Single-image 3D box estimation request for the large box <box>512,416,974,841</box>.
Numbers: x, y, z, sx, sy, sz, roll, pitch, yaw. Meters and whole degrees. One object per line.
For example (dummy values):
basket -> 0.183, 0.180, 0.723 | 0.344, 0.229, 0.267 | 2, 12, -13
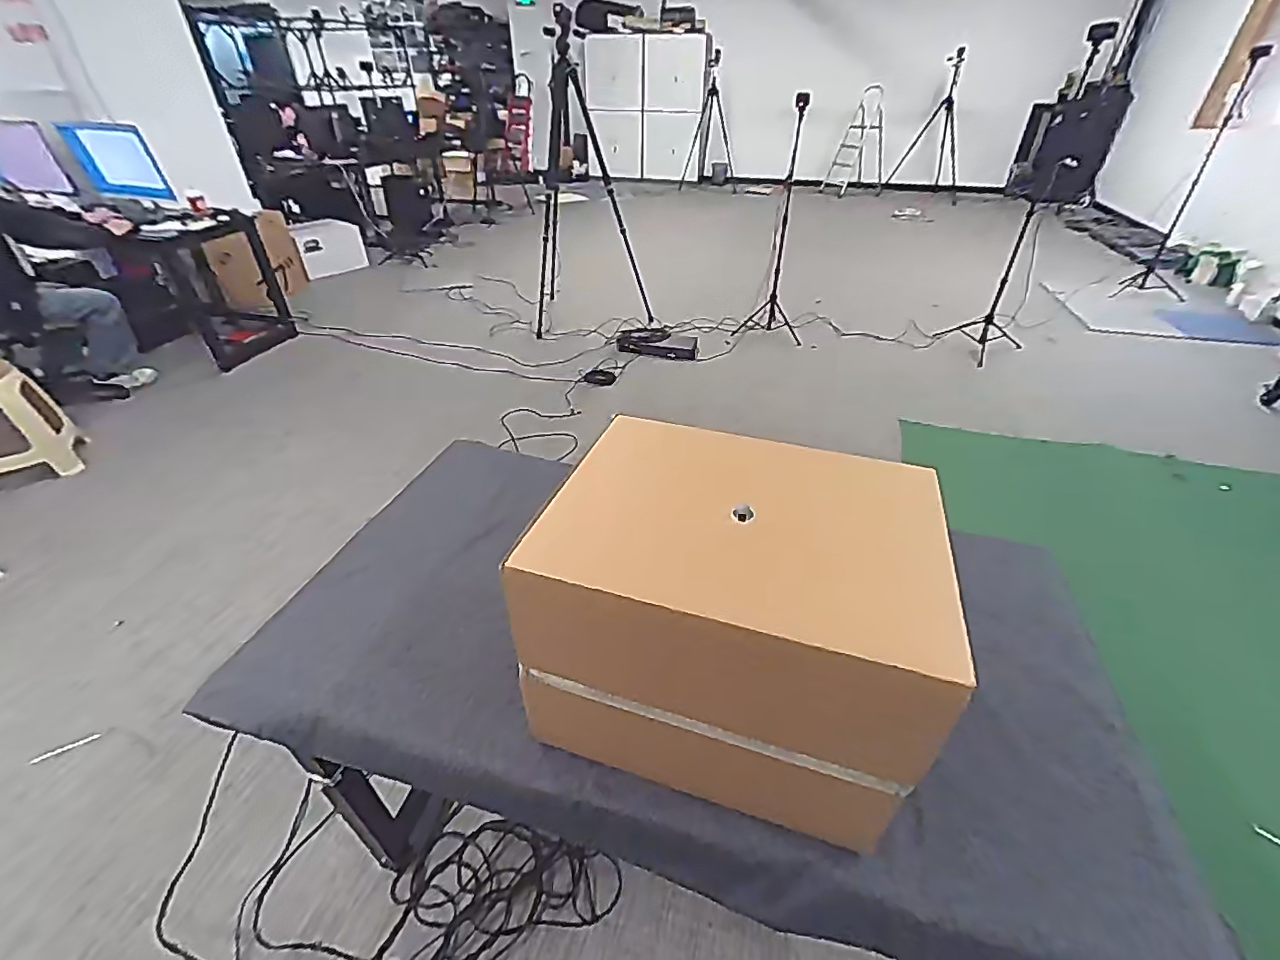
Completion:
large box -> 0.110, 0.159, 0.658 | 0.408, 0.320, 0.320 | 11, 37, 13
